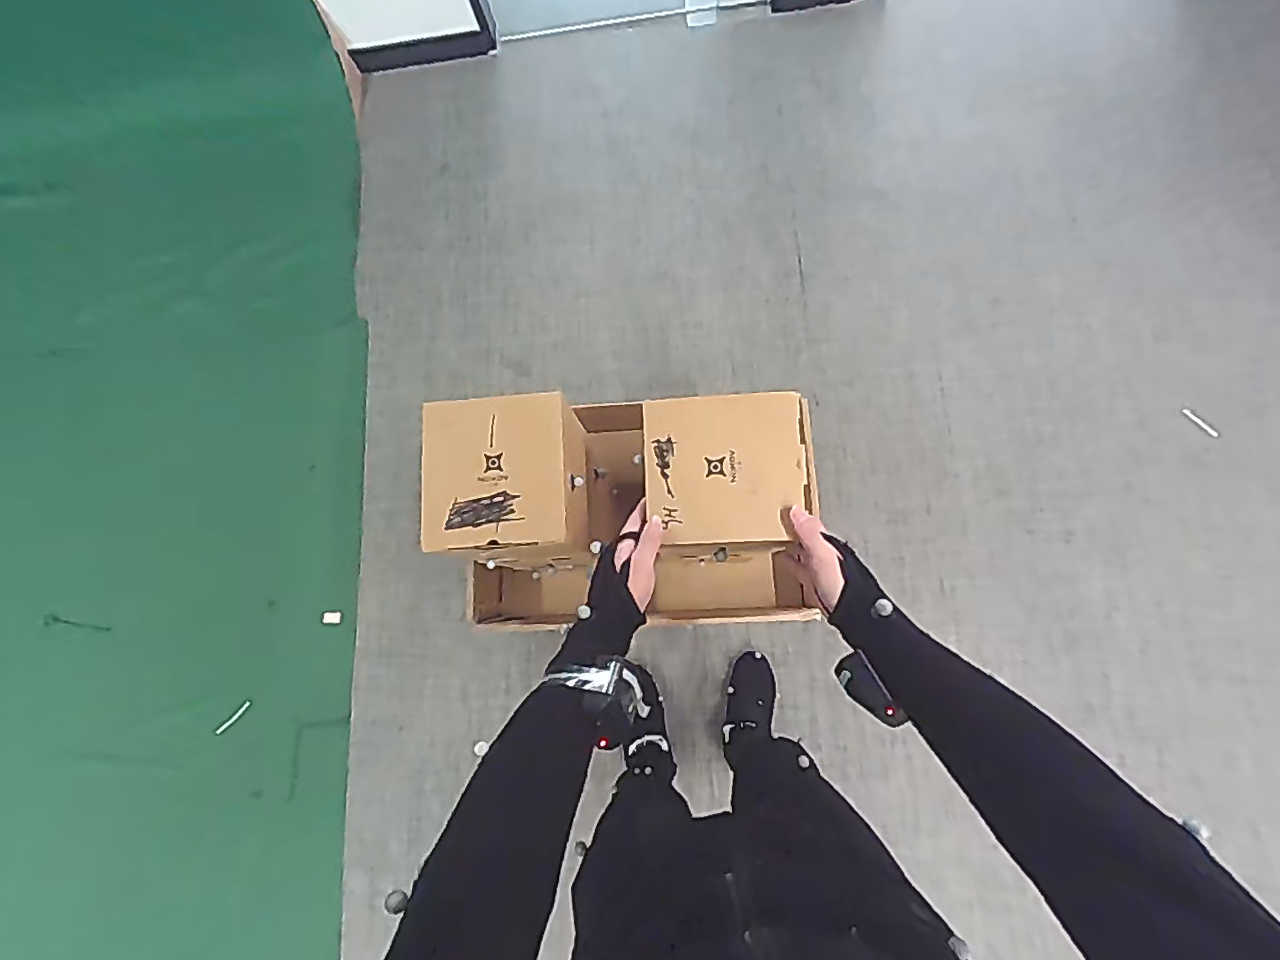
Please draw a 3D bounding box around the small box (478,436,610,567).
[{"bbox_3d":[-0.140,0.041,0.838,0.168,0.176,0.179,-2,78,4],"label":"small box"}]

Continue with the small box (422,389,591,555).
[{"bbox_3d":[-0.156,0.002,0.679,0.168,0.176,0.179,-4,78,3],"label":"small box"}]

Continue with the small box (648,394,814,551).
[{"bbox_3d":[0.101,0.000,0.664,0.179,0.176,0.168,-2,80,4],"label":"small box"}]
